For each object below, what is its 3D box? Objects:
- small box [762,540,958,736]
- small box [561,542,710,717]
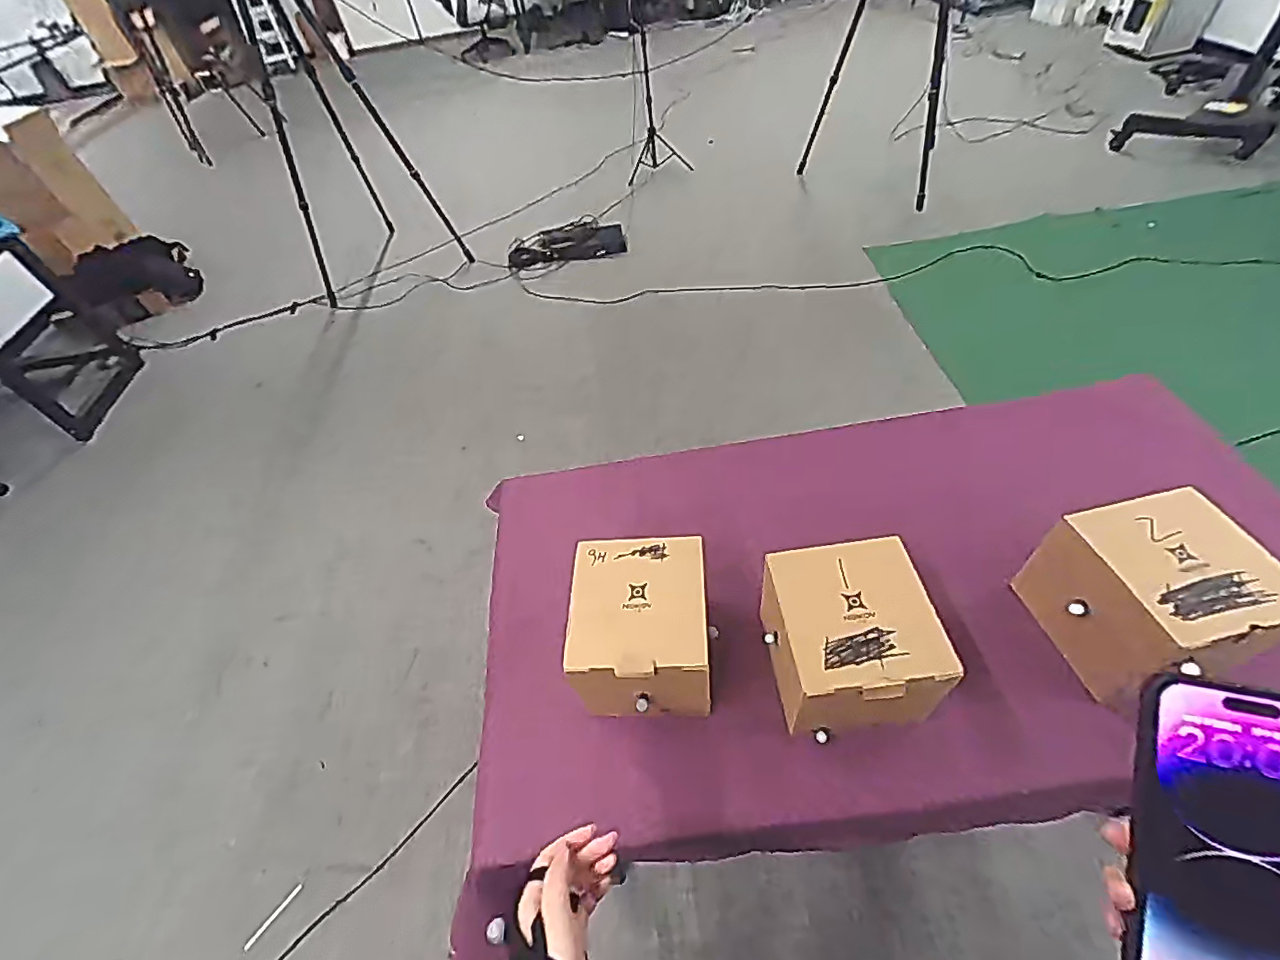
[{"bbox_3d":[0.251,0.201,0.668,0.168,0.176,0.179,-9,48,2],"label":"small box"},{"bbox_3d":[0.004,0.201,0.710,0.168,0.176,0.179,-3,50,7],"label":"small box"}]
